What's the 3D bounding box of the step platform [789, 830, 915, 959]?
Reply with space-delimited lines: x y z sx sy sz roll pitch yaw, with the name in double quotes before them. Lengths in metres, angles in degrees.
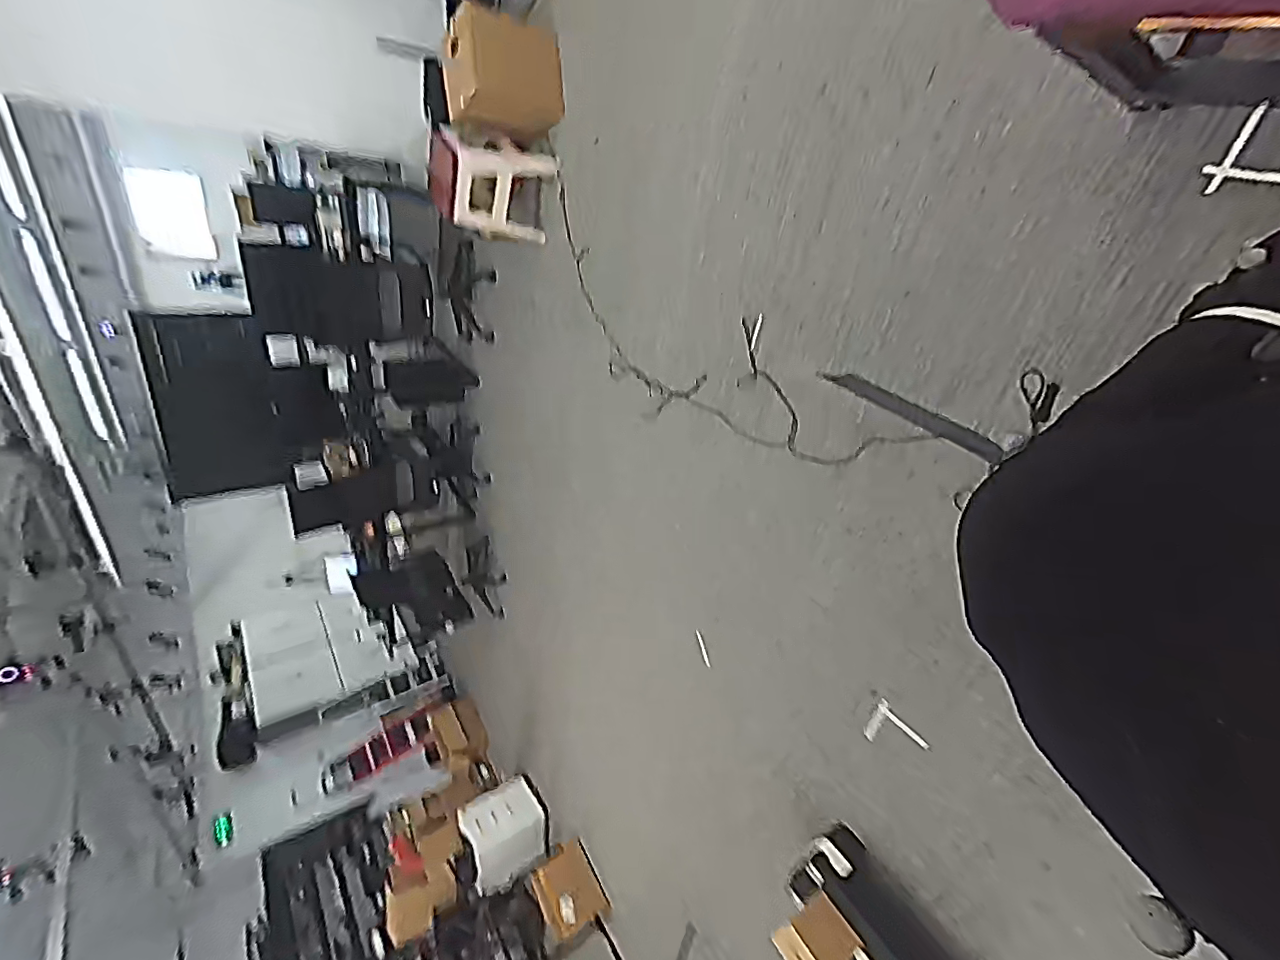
"step platform" 0.798 1.511 1.701 0.684 0.204 0.286 40 132 39
